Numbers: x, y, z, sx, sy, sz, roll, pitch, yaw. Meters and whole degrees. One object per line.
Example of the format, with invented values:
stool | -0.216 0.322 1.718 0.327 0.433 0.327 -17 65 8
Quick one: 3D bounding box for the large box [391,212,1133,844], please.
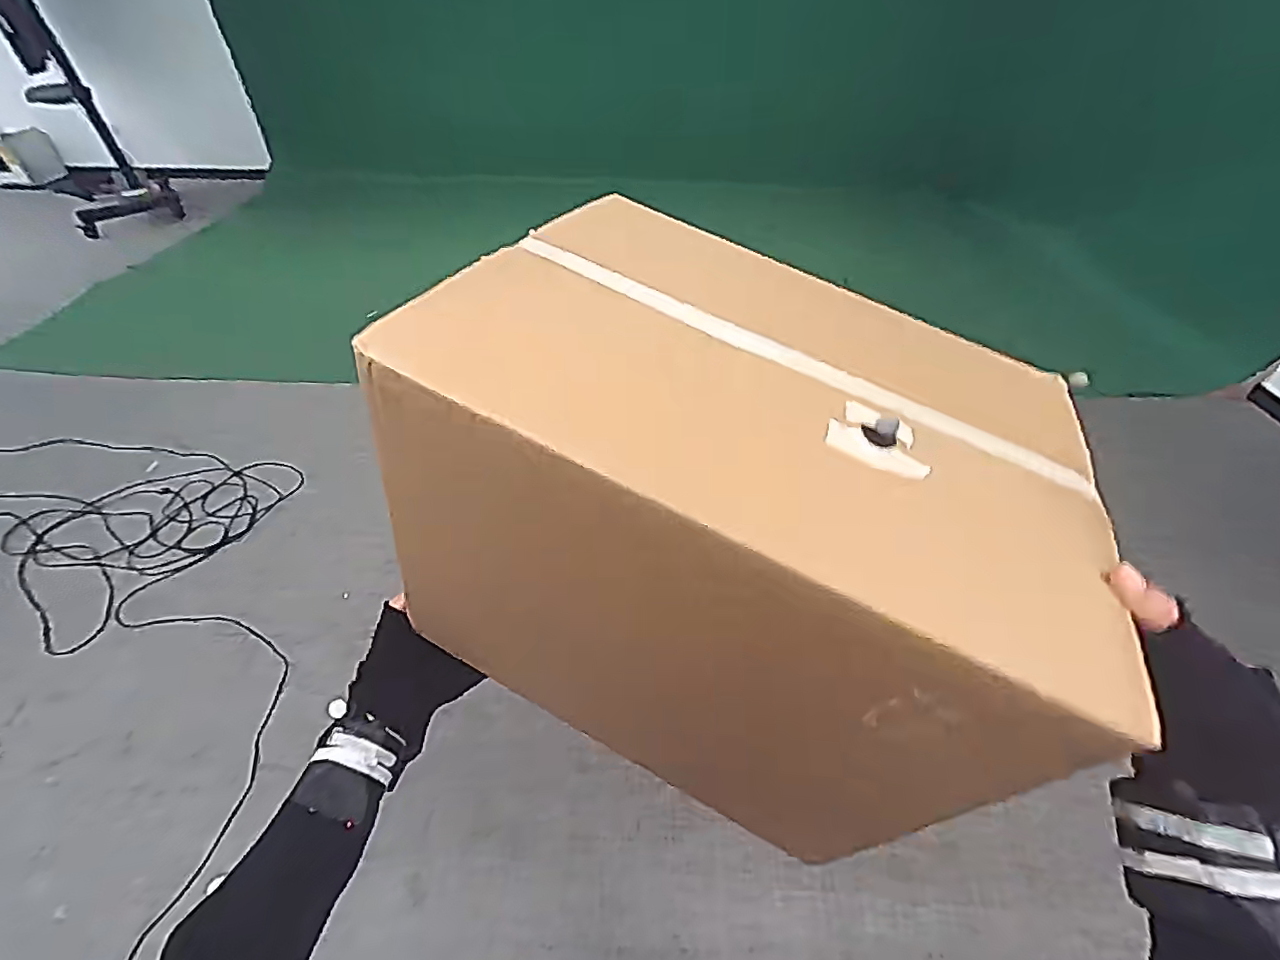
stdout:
large box | 0.065 0.028 0.470 0.408 0.320 0.320 27 47 8
